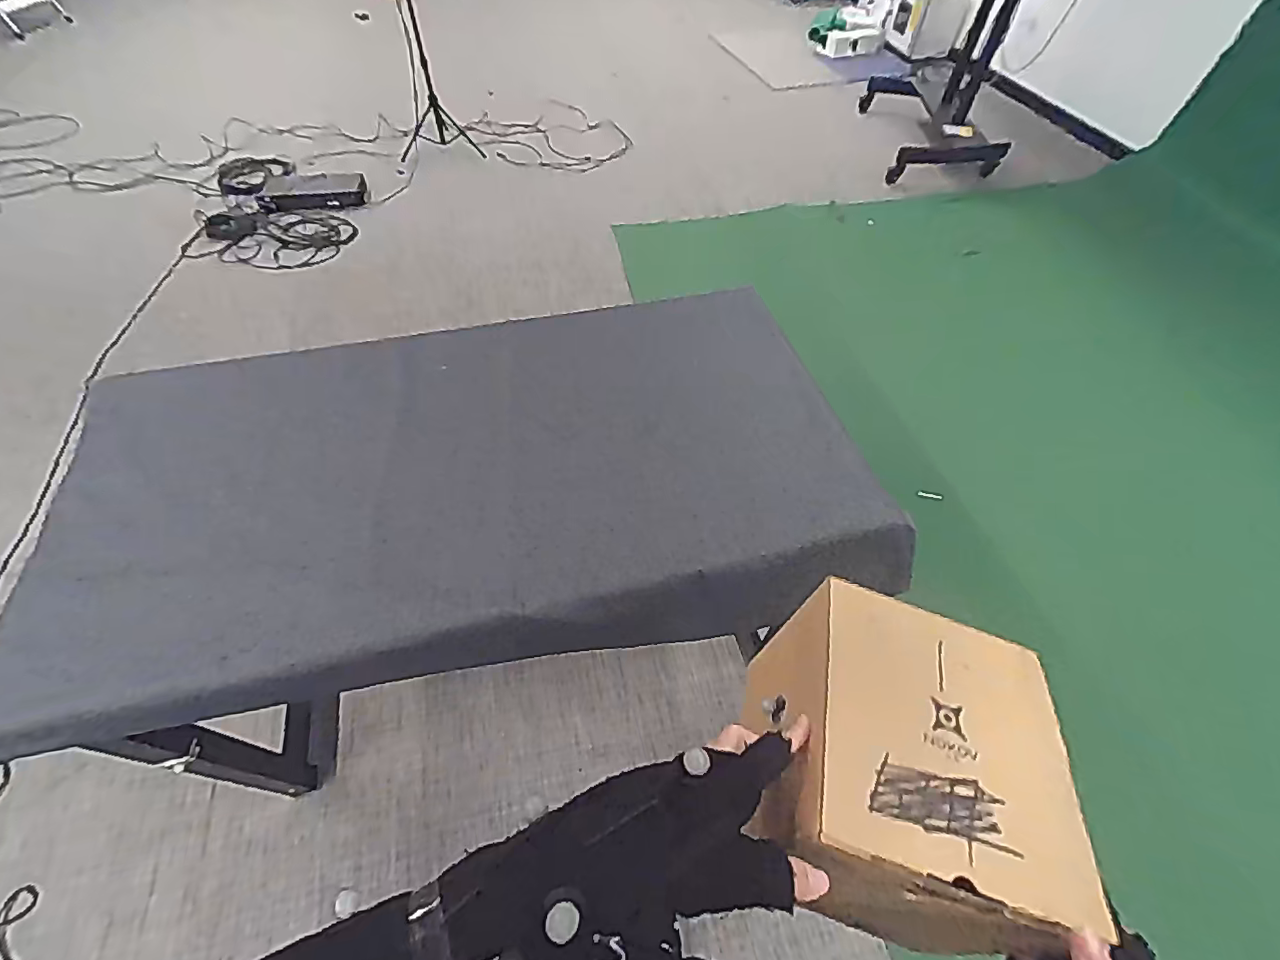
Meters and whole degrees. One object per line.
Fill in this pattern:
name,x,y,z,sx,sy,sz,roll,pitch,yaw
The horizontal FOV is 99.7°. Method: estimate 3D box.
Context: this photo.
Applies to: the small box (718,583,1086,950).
small box,0.170,0.217,0.408,0.168,0.176,0.179,22,46,2
